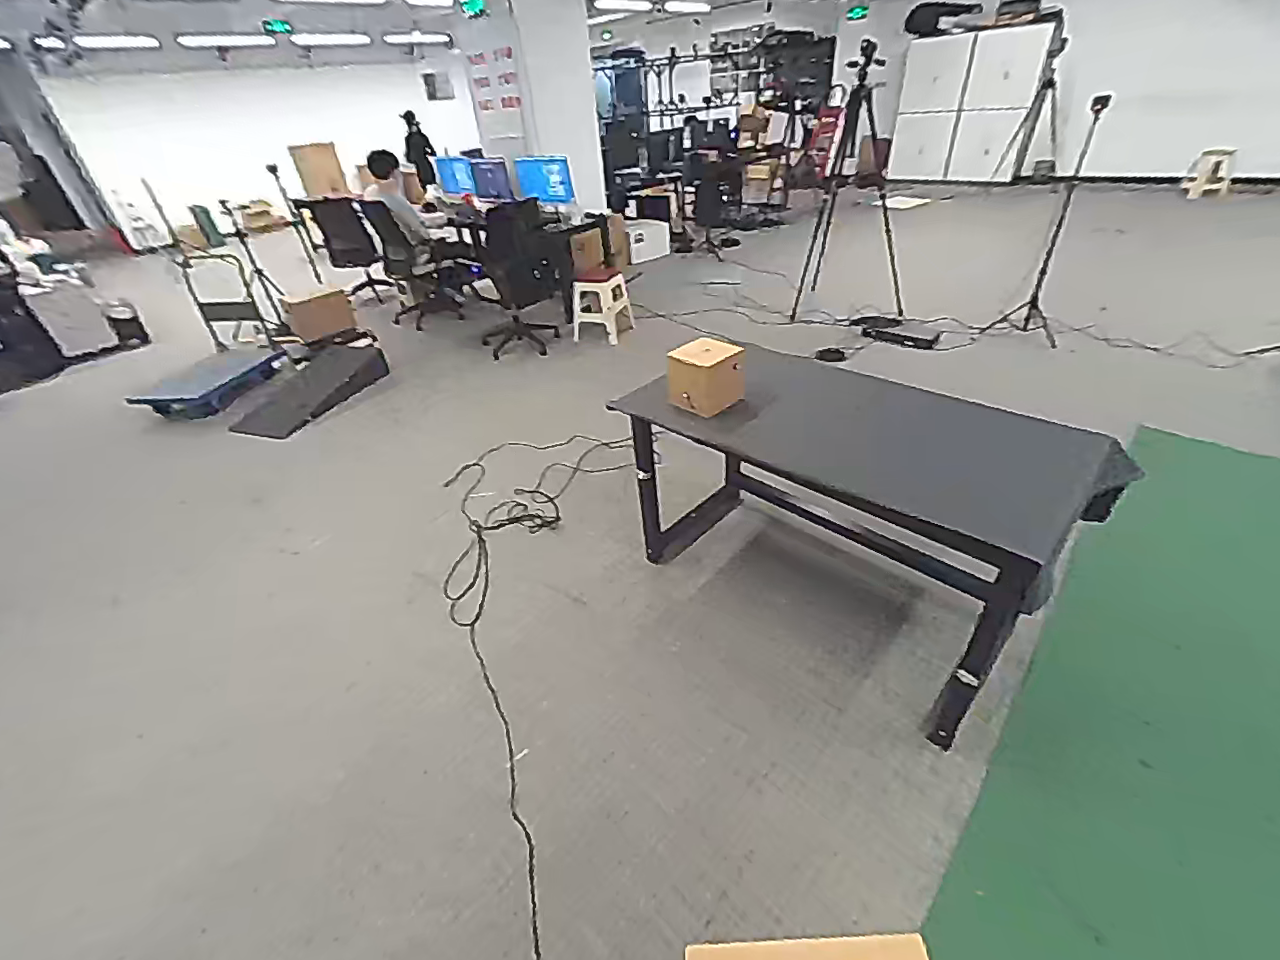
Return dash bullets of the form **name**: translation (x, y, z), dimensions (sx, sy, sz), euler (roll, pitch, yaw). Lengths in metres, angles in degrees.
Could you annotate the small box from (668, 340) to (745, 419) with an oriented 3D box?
- **small box**: translation (0.202, -0.312, 1.671), dimensions (0.179, 0.176, 0.168), euler (-30, 42, -32)
